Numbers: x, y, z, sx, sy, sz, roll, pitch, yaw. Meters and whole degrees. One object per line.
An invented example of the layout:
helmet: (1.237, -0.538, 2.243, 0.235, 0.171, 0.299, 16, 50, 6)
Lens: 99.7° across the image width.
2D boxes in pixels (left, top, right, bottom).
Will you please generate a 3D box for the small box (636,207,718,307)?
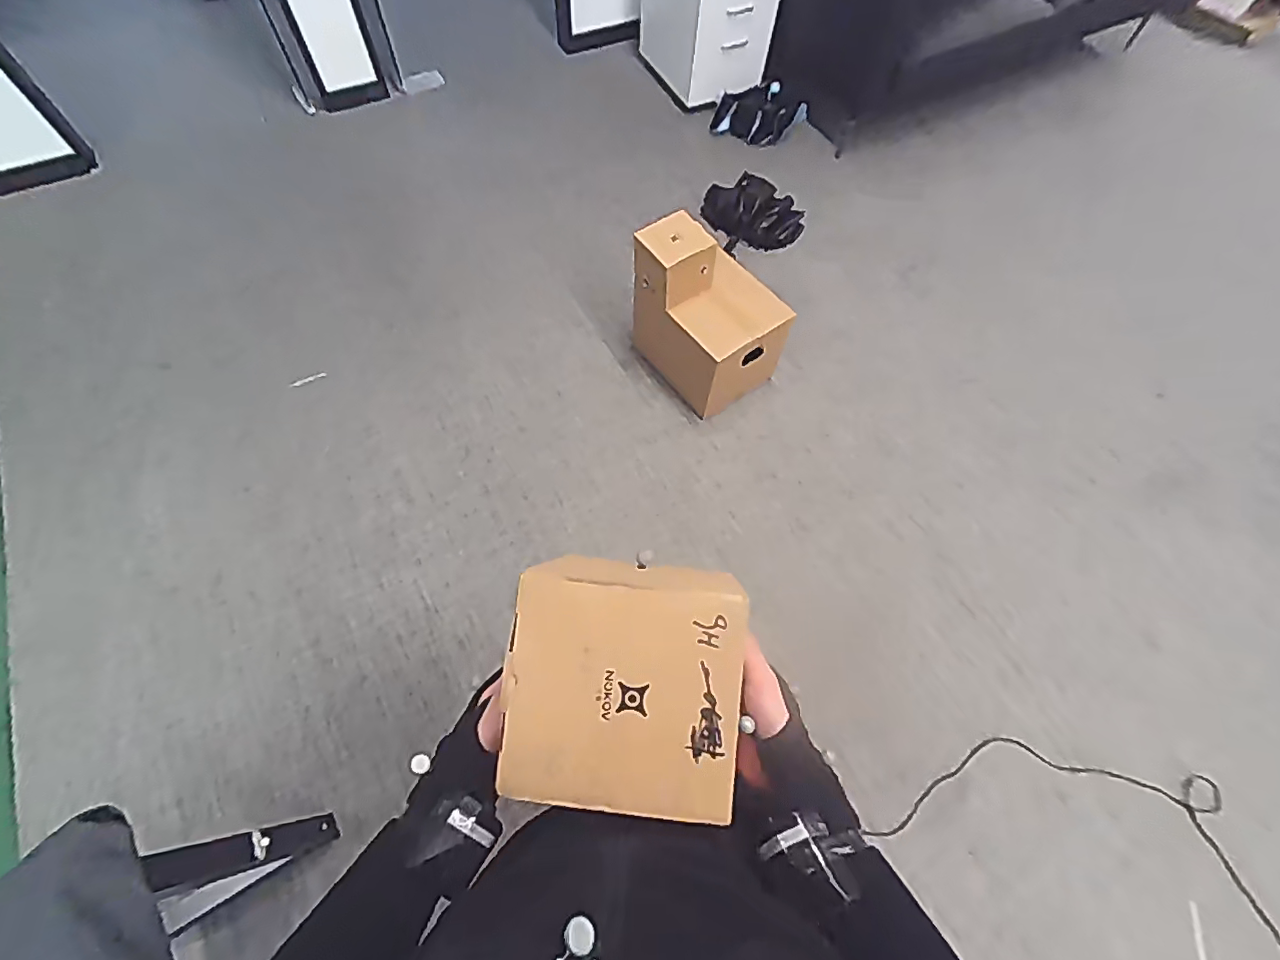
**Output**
small box: (0.102, -0.645, 1.574, 0.179, 0.176, 0.168, -33, 68, -12)
